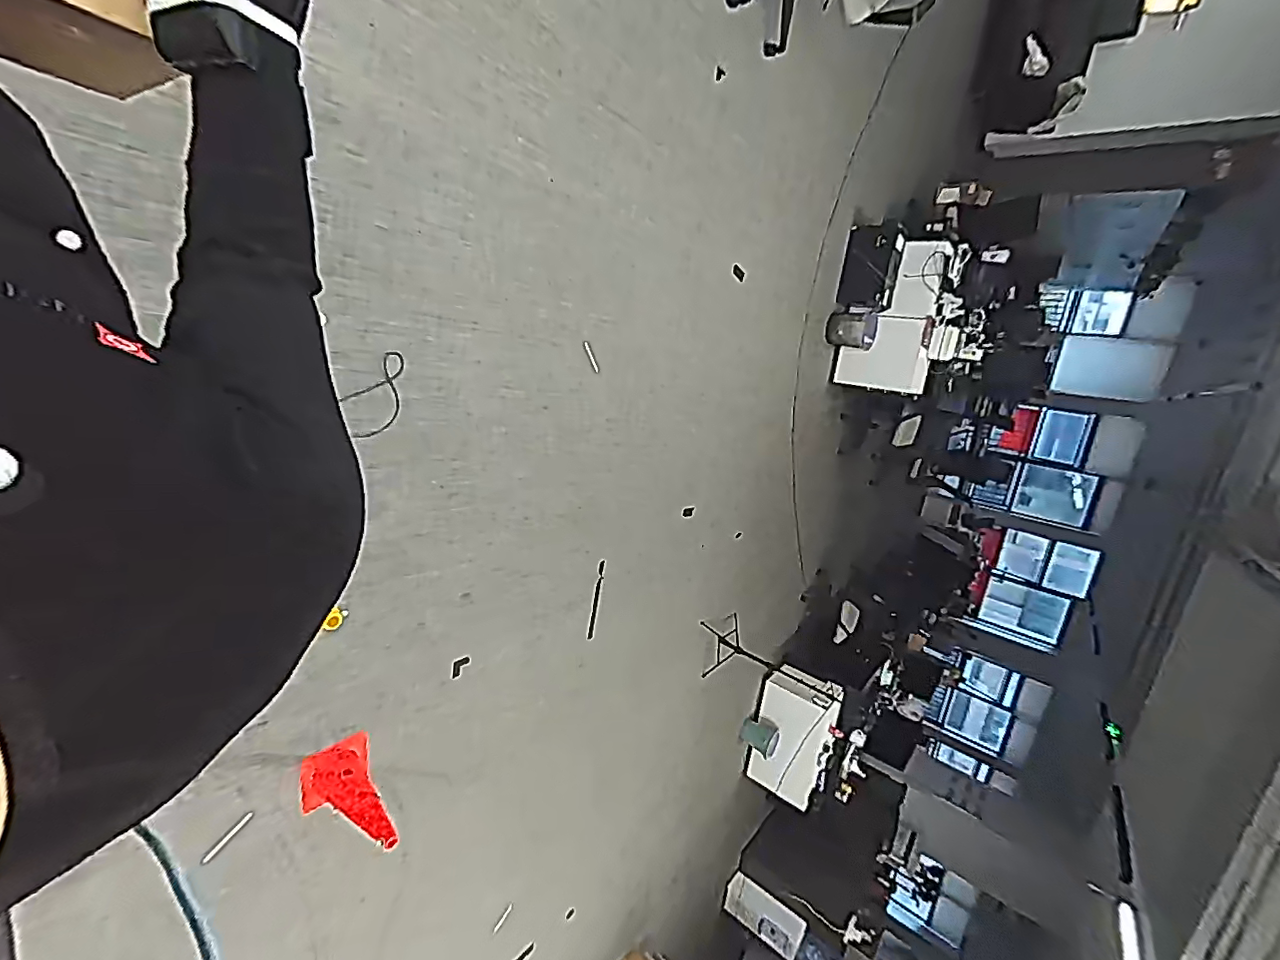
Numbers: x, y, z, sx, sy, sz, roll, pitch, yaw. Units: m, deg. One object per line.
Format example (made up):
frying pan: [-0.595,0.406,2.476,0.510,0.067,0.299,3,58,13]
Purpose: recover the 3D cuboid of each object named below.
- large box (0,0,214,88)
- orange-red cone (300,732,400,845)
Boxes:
large box: [-0.513,-0.477,0.276,0.408,0.320,0.320,-7,115,-52]
orange-red cone: [-0.820,0.950,1.592,0.198,0.360,0.199,-12,113,-51]
